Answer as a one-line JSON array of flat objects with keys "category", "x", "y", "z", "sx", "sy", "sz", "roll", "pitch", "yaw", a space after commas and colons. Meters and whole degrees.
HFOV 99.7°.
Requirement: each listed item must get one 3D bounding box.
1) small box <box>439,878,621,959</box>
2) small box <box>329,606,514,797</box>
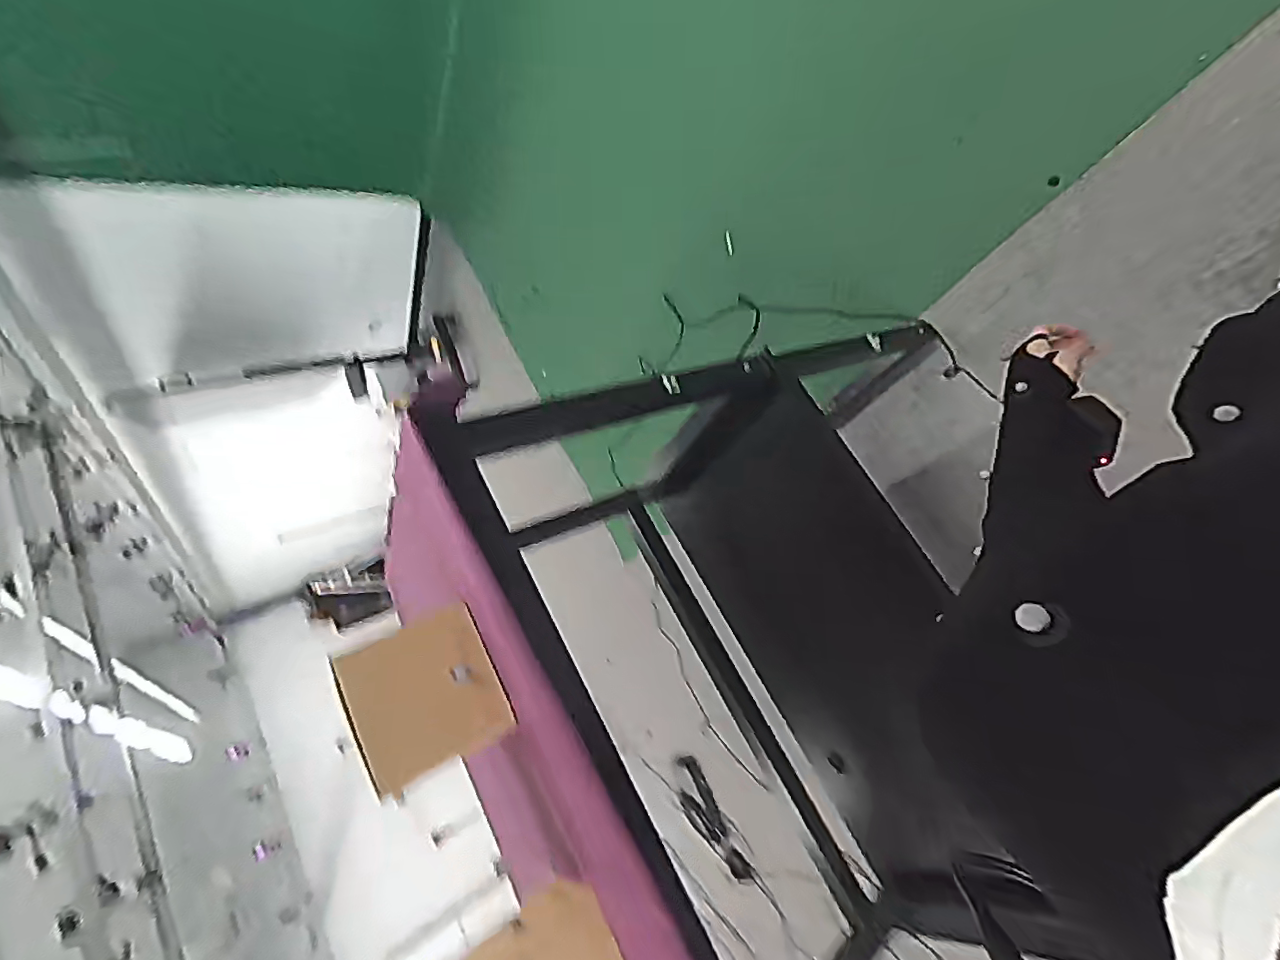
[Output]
[{"category": "small box", "x": -0.111, "y": 0.595, "z": 0.612, "sx": 0.179, "sy": 0.176, "sz": 0.168, "roll": 60, "pitch": 145, "yaw": 16}, {"category": "small box", "x": -0.289, "y": 0.283, "z": 0.713, "sx": 0.179, "sy": 0.176, "sz": 0.168, "roll": 60, "pitch": 145, "yaw": 16}]
